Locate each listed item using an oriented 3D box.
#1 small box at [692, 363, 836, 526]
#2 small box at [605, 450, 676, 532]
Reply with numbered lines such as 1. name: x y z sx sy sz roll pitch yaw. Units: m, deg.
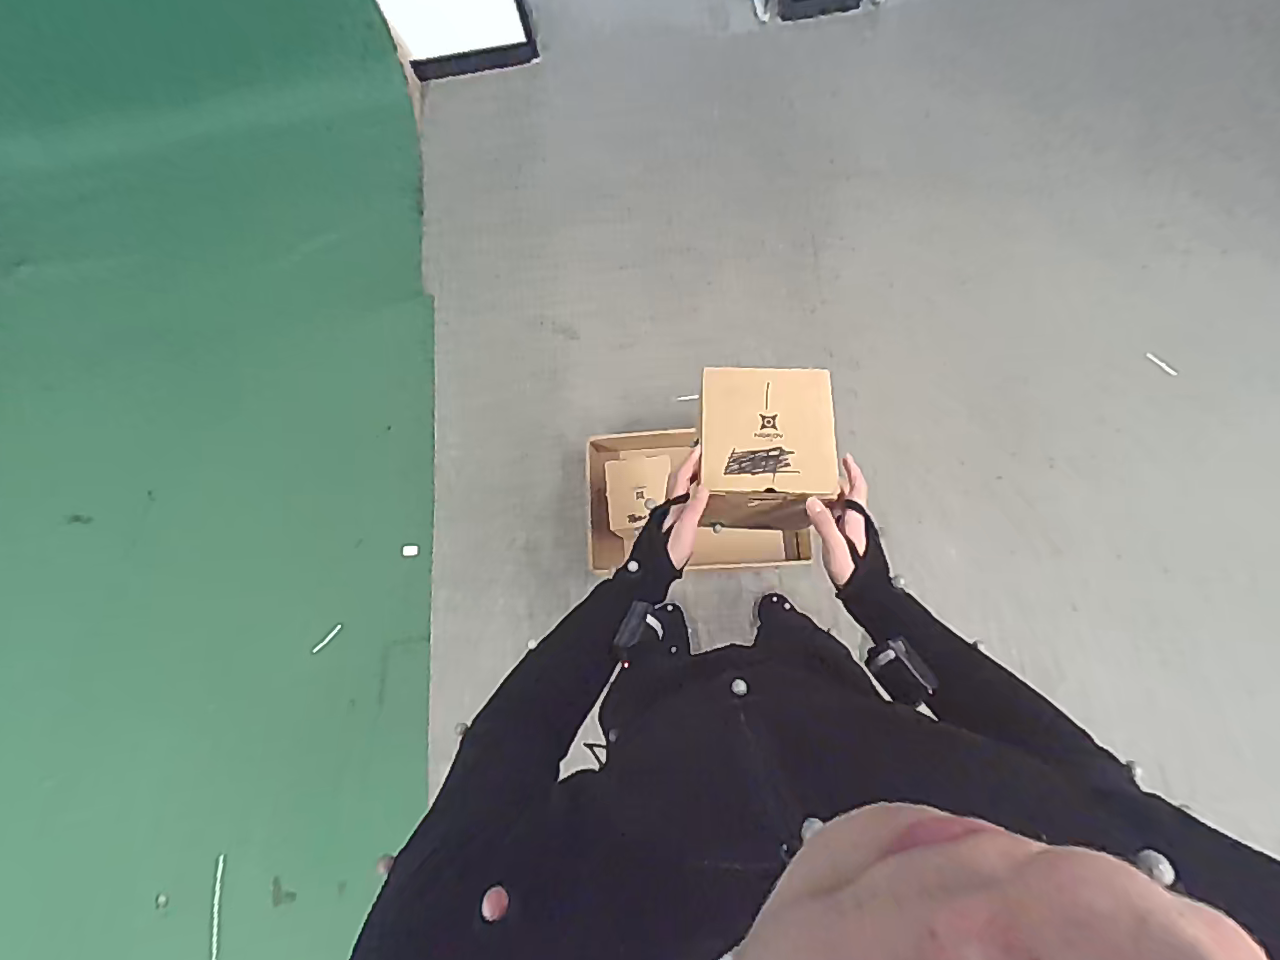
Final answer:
1. small box: 0.159 -0.040 0.742 0.168 0.176 0.179 2 70 3
2. small box: 0.005 0.033 1.396 0.168 0.176 0.179 -6 78 4
